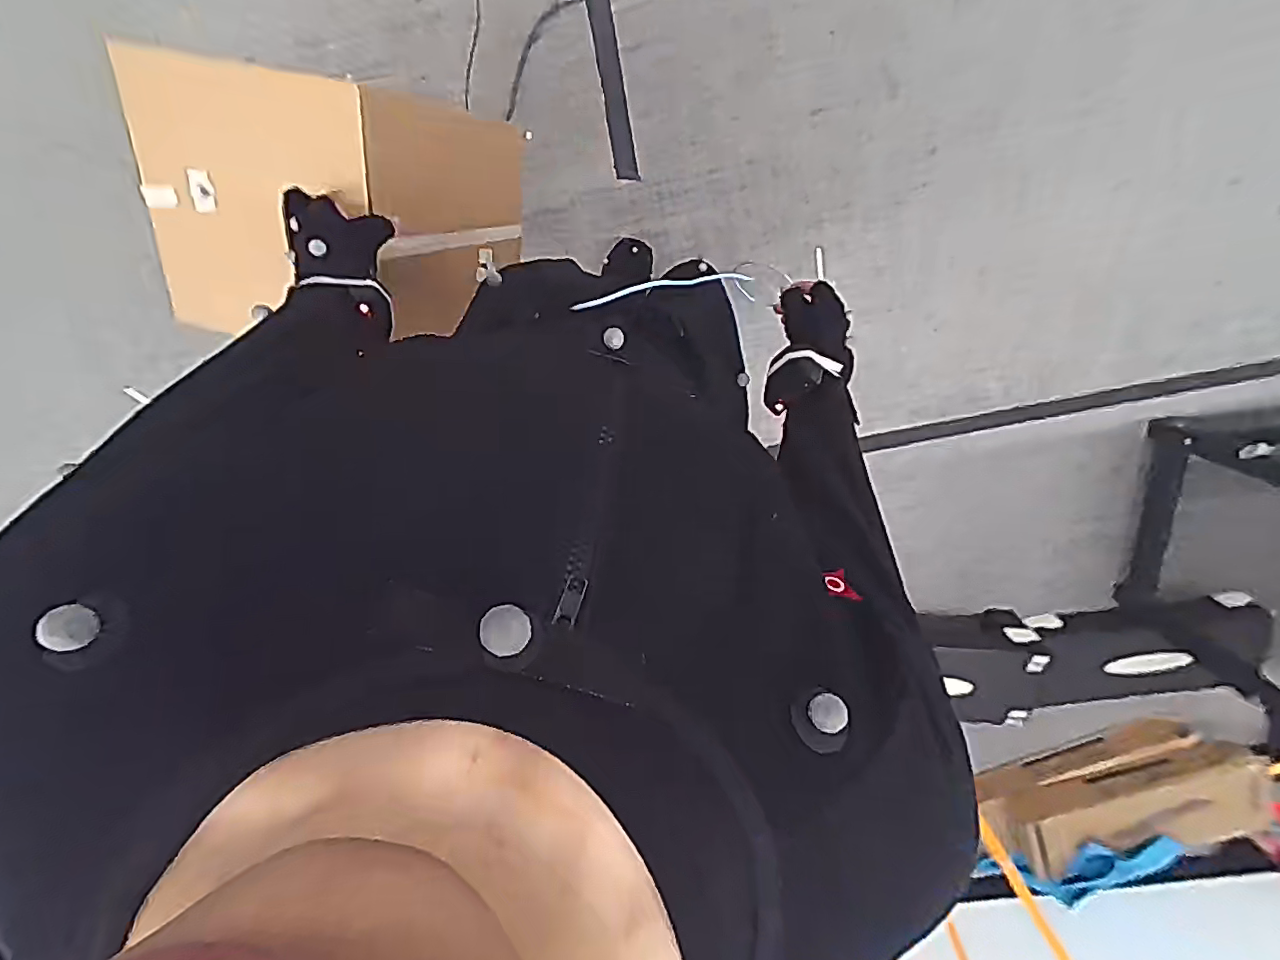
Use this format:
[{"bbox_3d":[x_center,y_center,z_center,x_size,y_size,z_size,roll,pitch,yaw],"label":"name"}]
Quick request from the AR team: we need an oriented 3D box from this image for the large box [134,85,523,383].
[{"bbox_3d":[-0.408,-0.381,0.830,0.320,0.408,0.320,13,120,7],"label":"large box"}]
